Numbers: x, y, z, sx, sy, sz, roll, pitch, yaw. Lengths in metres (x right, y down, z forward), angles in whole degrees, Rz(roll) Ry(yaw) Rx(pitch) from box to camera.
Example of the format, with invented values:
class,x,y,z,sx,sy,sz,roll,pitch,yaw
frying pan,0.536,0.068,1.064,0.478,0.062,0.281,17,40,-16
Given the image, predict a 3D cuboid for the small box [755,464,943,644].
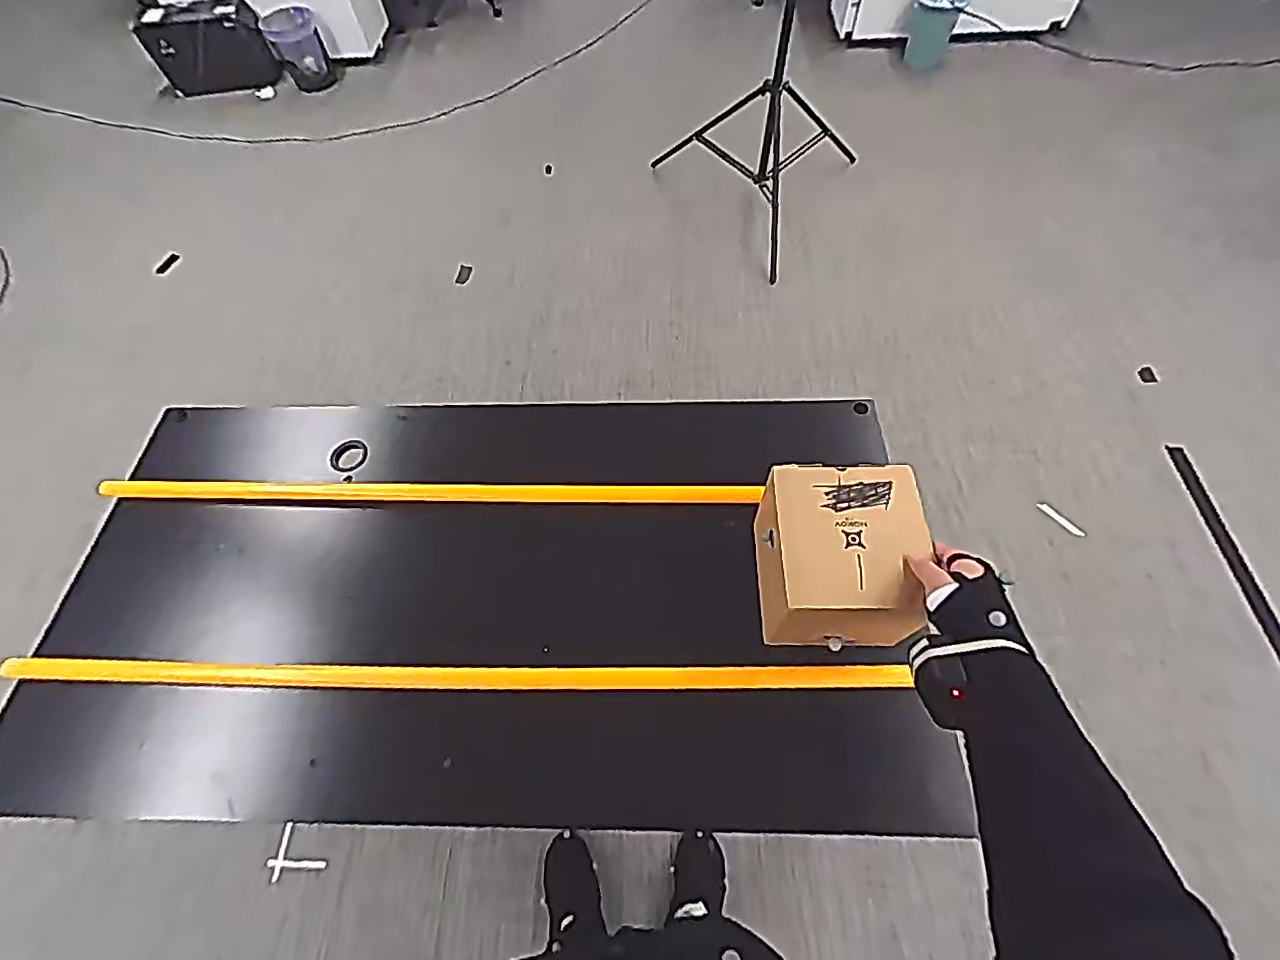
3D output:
class,x,y,z,sx,sy,sz,roll,pitch,yaw
small box,0.242,0.096,0.679,0.168,0.176,0.179,0,61,4
